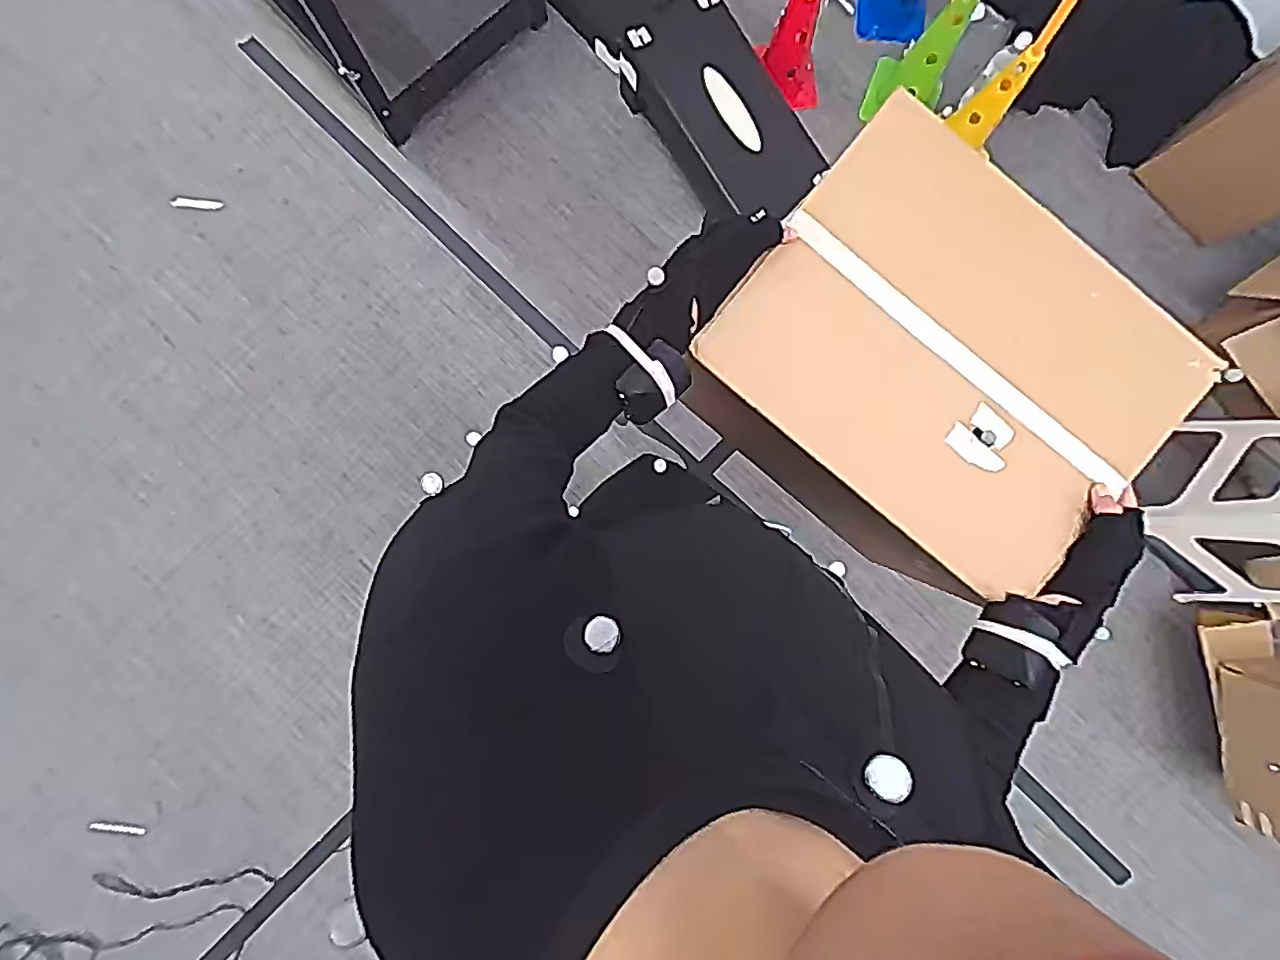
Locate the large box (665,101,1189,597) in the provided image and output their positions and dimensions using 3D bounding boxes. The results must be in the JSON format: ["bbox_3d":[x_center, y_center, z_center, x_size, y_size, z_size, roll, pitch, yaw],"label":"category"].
[{"bbox_3d":[0.285,-0.129,0.670,0.408,0.320,0.320,40,93,-3],"label":"large box"}]
